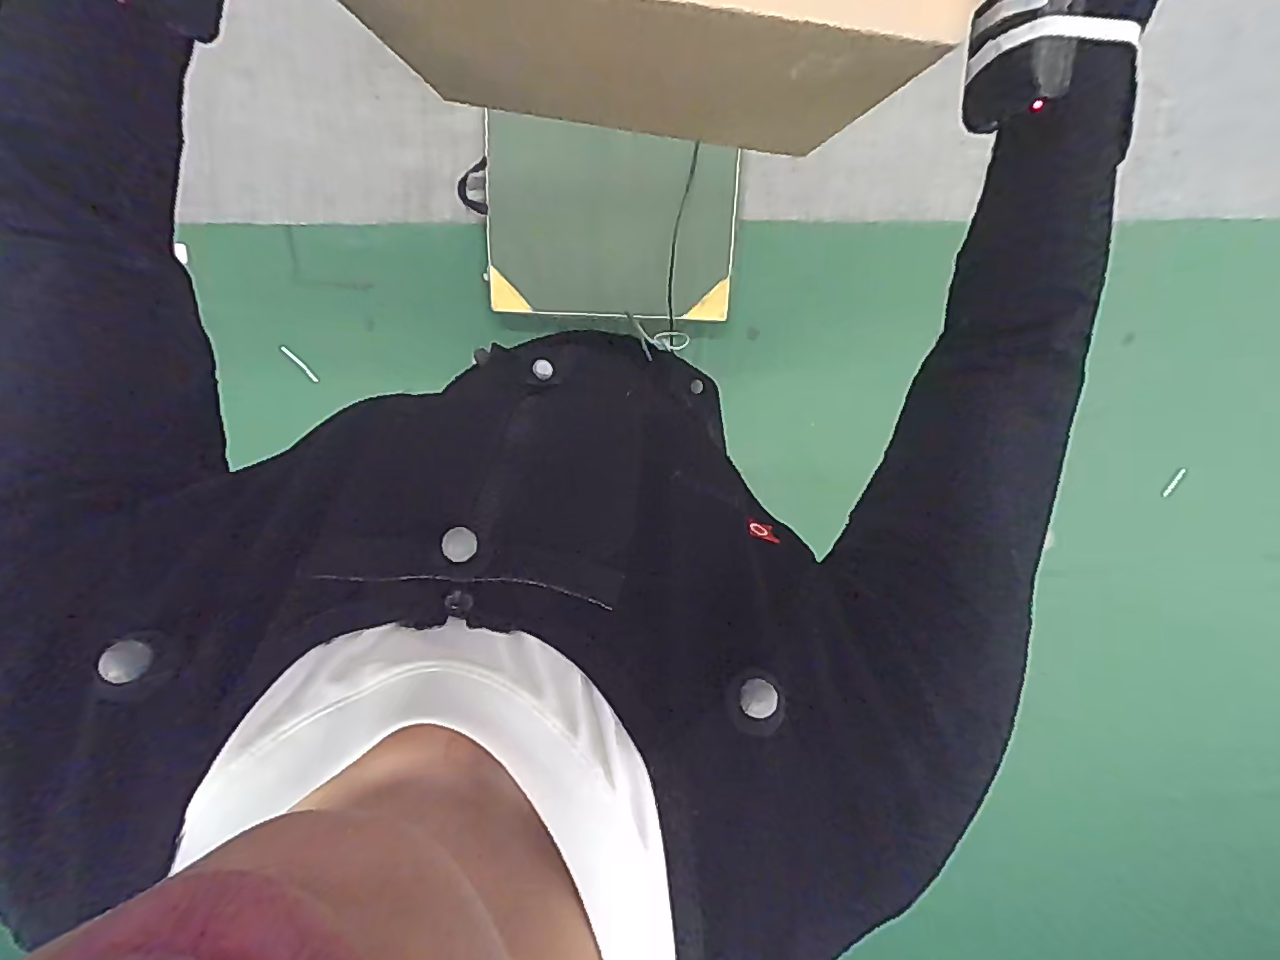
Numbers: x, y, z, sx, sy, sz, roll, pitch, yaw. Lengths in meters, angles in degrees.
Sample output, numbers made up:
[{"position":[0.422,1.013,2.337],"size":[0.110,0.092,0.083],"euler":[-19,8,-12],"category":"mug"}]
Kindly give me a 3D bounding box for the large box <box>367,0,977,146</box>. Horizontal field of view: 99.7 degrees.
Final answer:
[{"position":[0.013,-0.481,0.403],"size":[0.408,0.320,0.320],"euler":[6,111,-4],"category":"large box"}]
